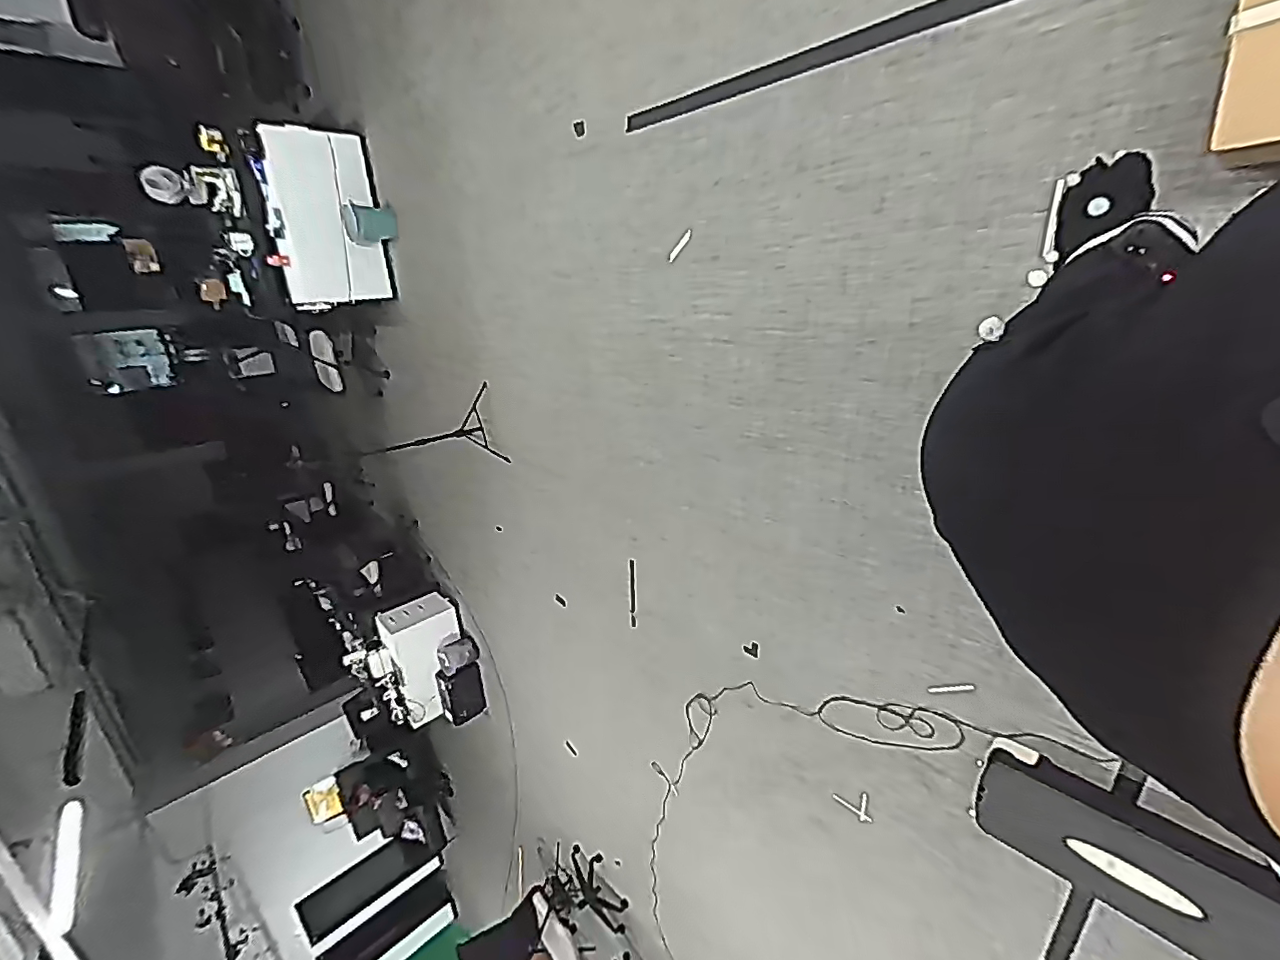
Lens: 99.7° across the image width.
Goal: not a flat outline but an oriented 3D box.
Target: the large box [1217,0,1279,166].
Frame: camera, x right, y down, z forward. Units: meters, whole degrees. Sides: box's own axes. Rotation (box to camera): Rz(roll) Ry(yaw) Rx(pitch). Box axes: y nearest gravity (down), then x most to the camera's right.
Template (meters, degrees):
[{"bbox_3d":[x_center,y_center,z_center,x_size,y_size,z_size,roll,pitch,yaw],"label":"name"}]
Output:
[{"bbox_3d":[1.044,-0.627,0.678,0.408,0.320,0.320,14,117,45],"label":"large box"}]
